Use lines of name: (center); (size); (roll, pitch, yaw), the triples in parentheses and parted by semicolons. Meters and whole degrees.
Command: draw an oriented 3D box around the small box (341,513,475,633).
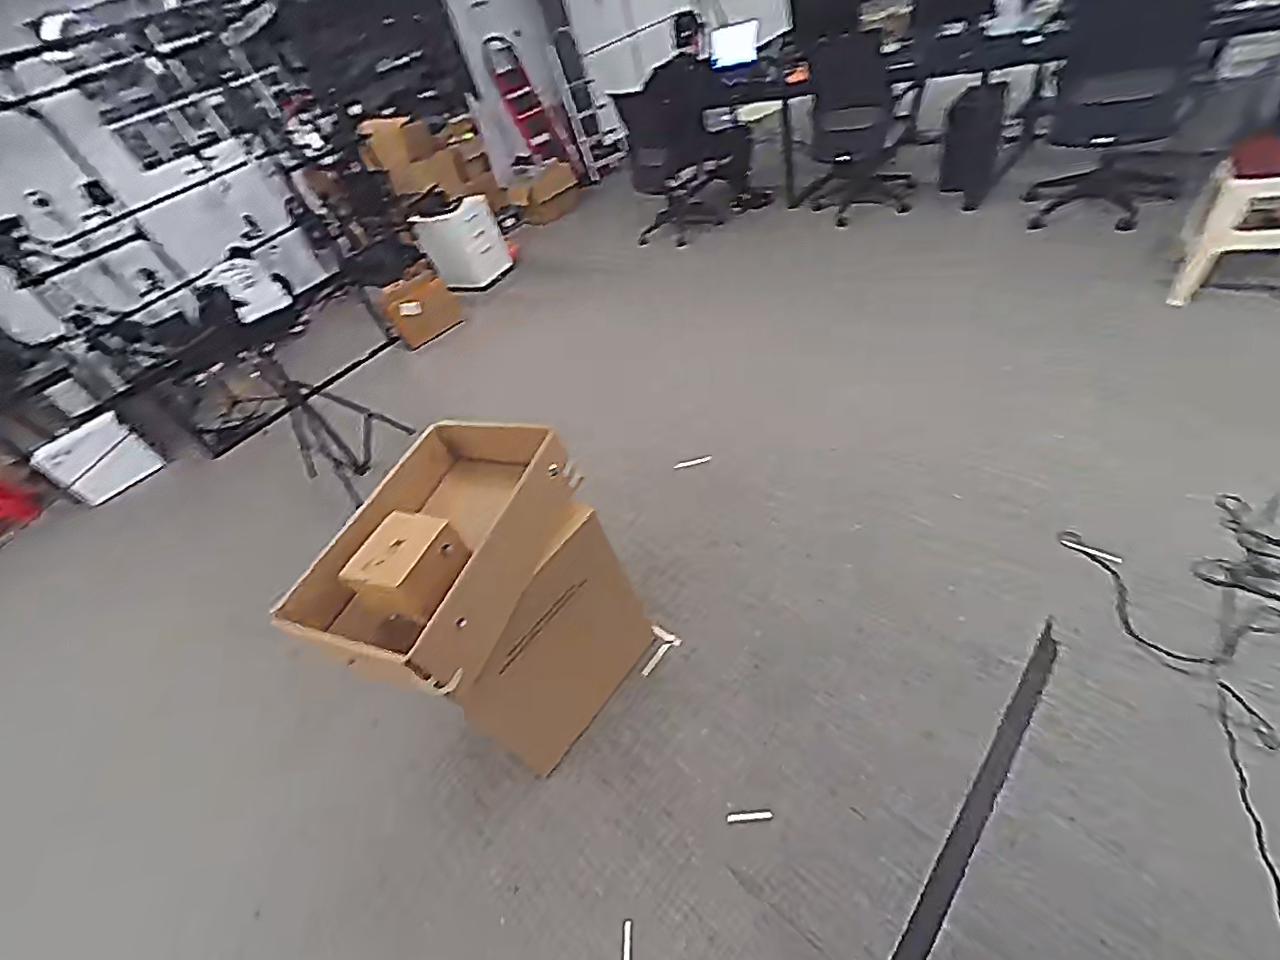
small box: (-0.480, 0.197, 1.155); (0.168, 0.176, 0.179); (5, 48, 25)
